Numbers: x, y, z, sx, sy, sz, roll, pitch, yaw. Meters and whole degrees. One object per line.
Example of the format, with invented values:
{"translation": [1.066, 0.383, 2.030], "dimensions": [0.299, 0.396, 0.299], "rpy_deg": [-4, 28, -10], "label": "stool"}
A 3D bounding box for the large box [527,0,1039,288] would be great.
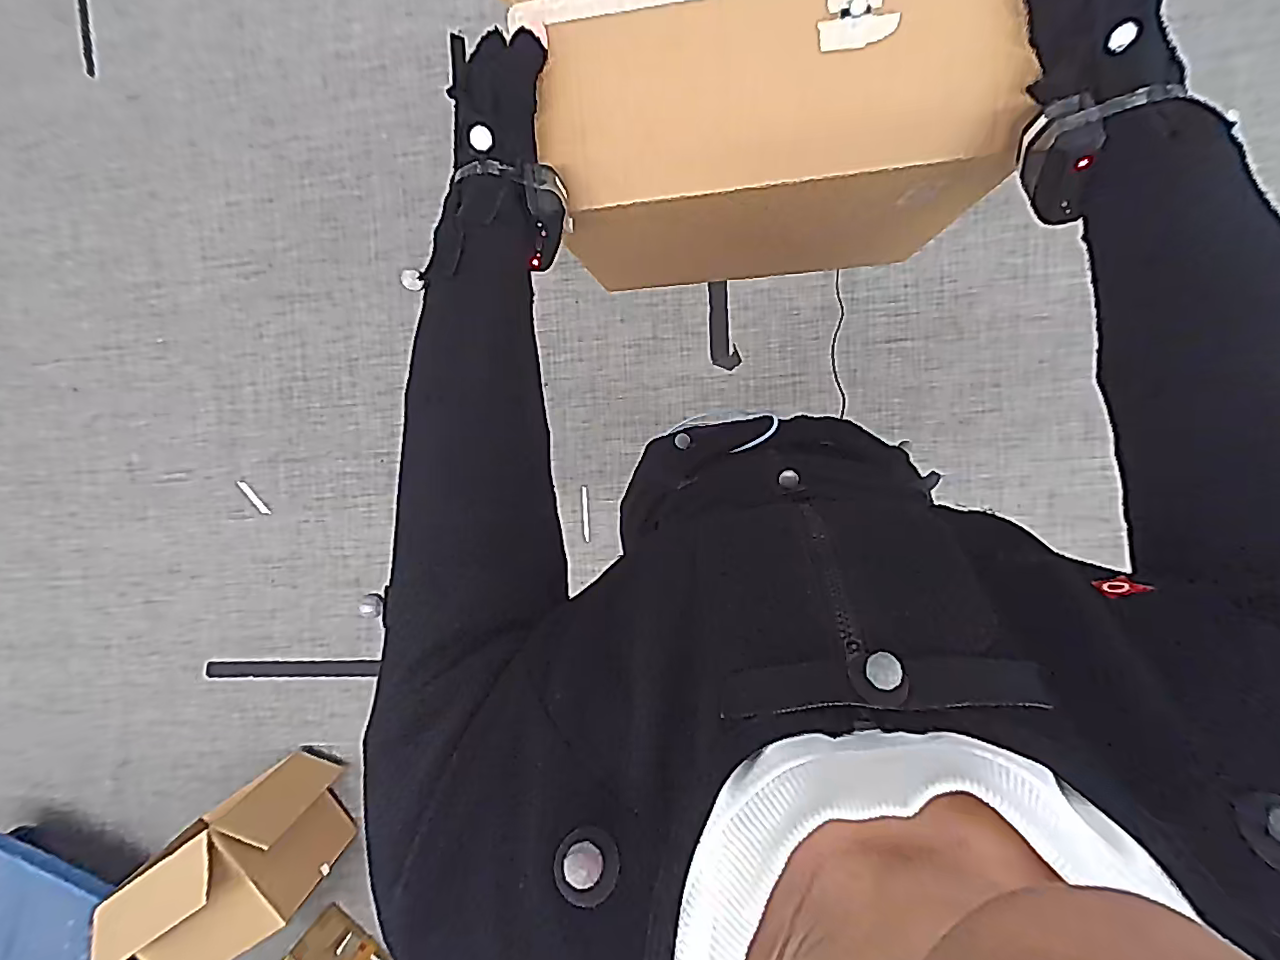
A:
{"translation": [0.117, -0.419, 0.577], "dimensions": [0.408, 0.320, 0.320], "rpy_deg": [-4, 97, 7], "label": "large box"}
